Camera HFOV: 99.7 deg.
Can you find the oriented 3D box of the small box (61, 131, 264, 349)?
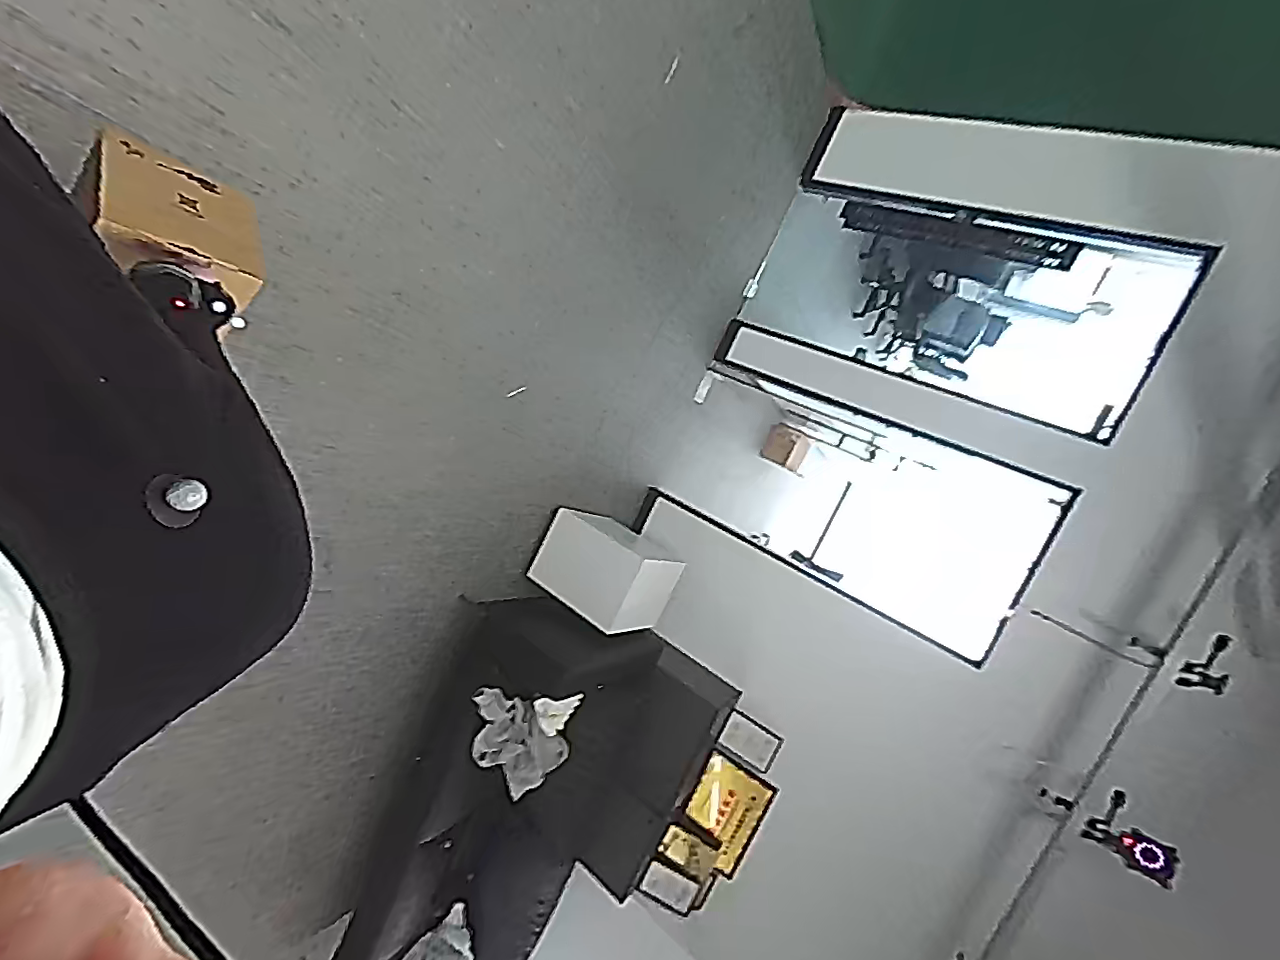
[{"bbox_3d":[-0.648,-0.308,0.735,0.176,0.179,0.168,-35,158,26],"label":"small box"}]
